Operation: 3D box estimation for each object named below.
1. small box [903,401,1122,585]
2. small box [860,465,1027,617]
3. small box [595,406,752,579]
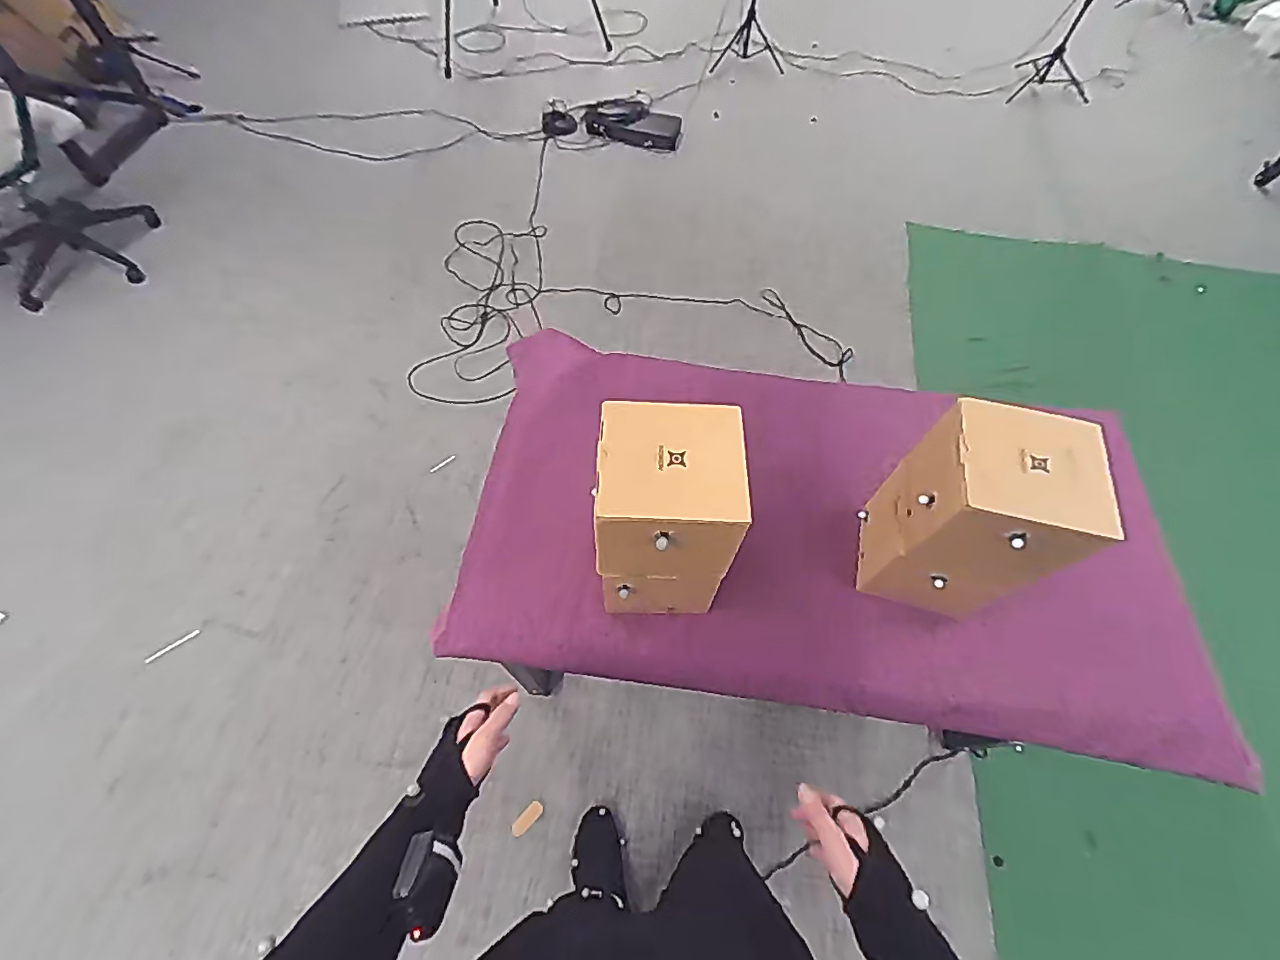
[{"bbox_3d":[0.470,0.025,0.716,0.179,0.176,0.168,13,62,5],"label":"small box"},{"bbox_3d":[0.467,0.103,0.859,0.179,0.176,0.168,14,61,6],"label":"small box"},{"bbox_3d":[0.036,0.023,0.702,0.179,0.176,0.168,2,59,-1],"label":"small box"}]
